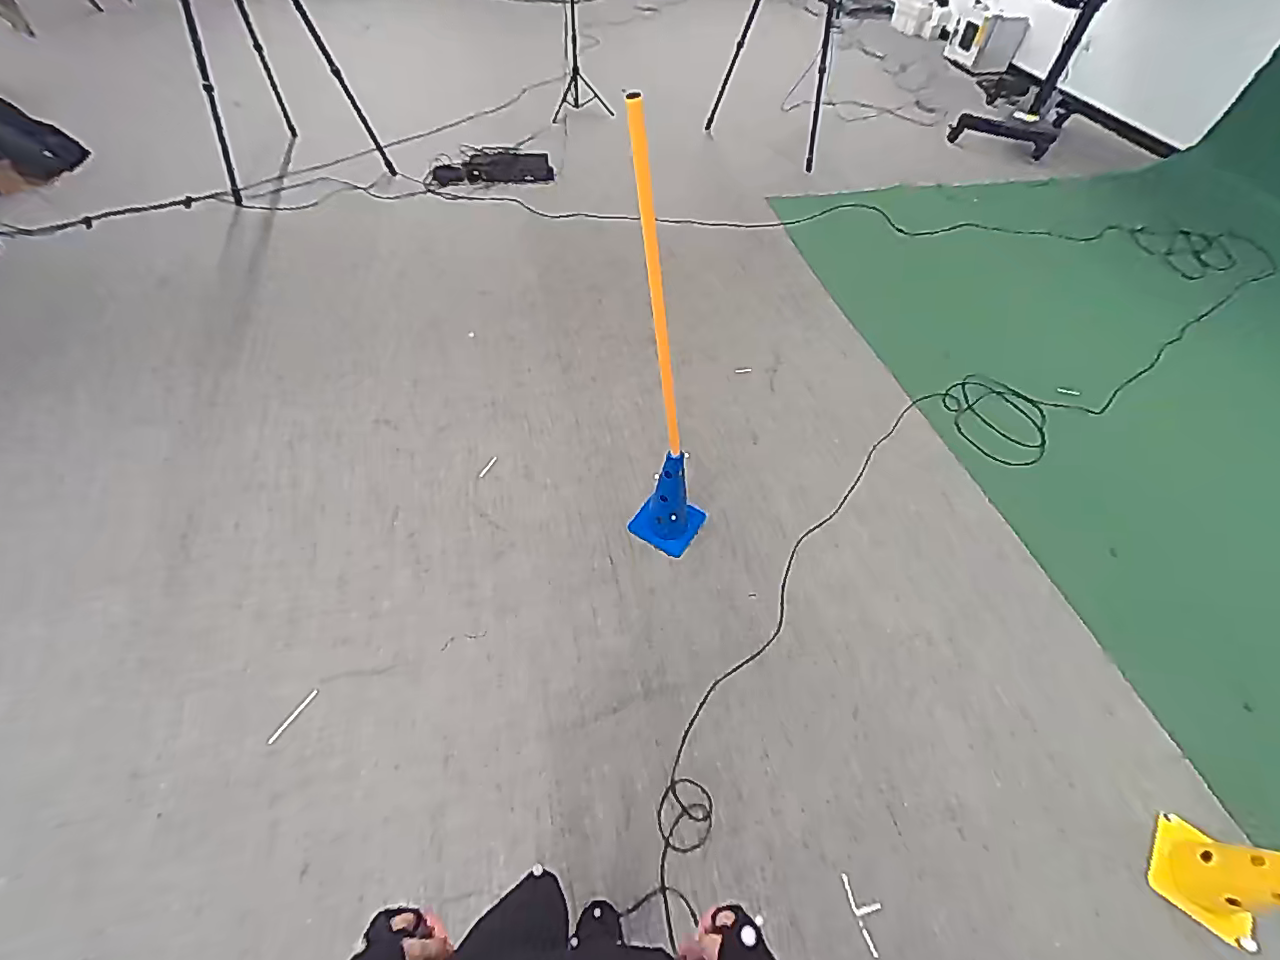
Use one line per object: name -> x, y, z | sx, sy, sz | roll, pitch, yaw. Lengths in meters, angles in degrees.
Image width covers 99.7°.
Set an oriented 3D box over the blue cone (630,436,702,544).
blue cone -> 0.084, 0.011, 1.599 | 0.193, 0.380, 0.192 | 26, 58, 17
